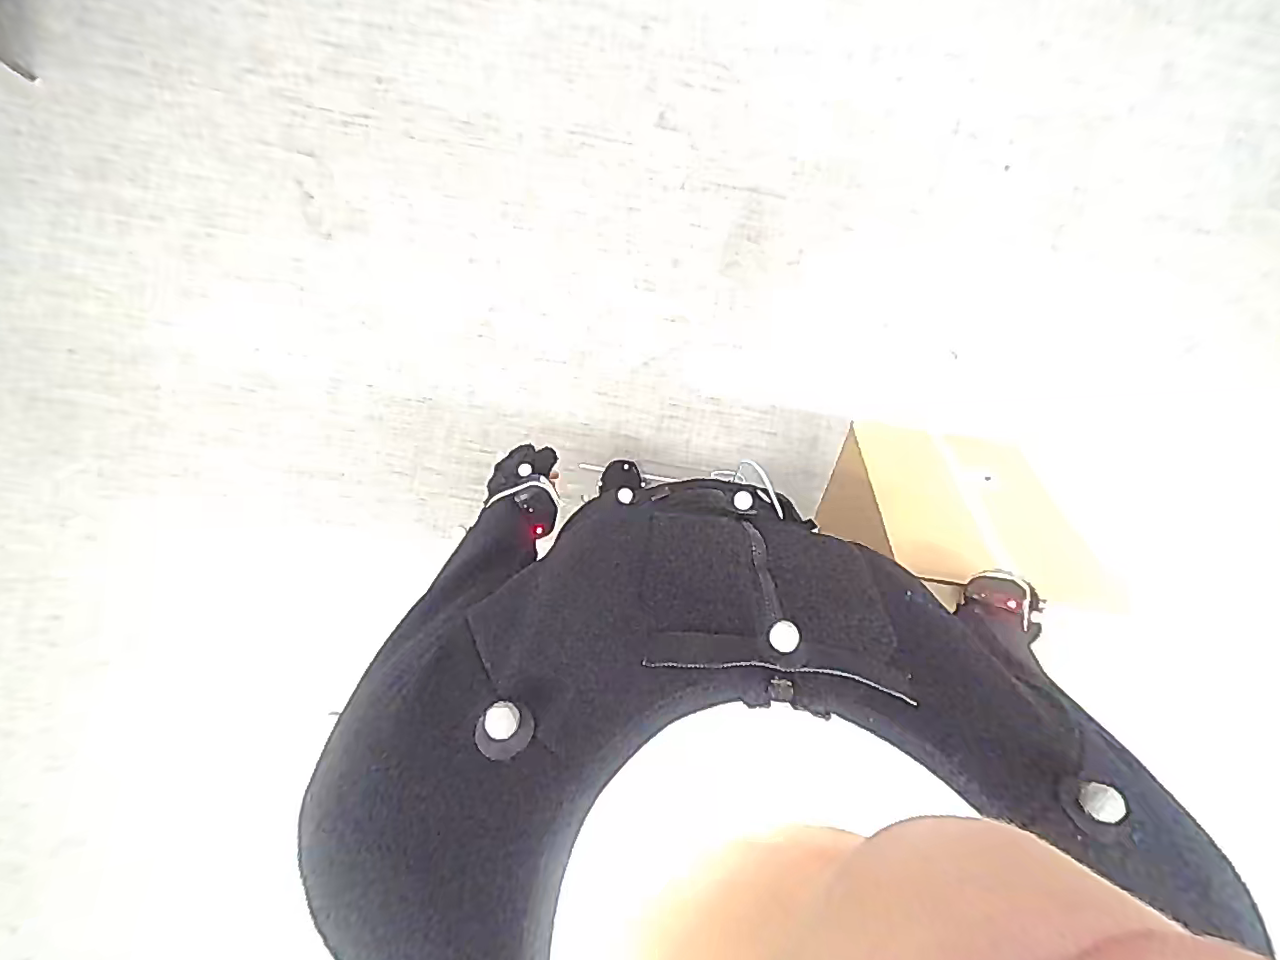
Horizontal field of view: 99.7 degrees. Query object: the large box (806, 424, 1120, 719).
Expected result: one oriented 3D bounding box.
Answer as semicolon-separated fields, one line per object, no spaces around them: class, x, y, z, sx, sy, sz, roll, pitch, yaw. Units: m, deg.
large box;0.510;0.150;0.977;0.320;0.408;0.320;10;127;3
